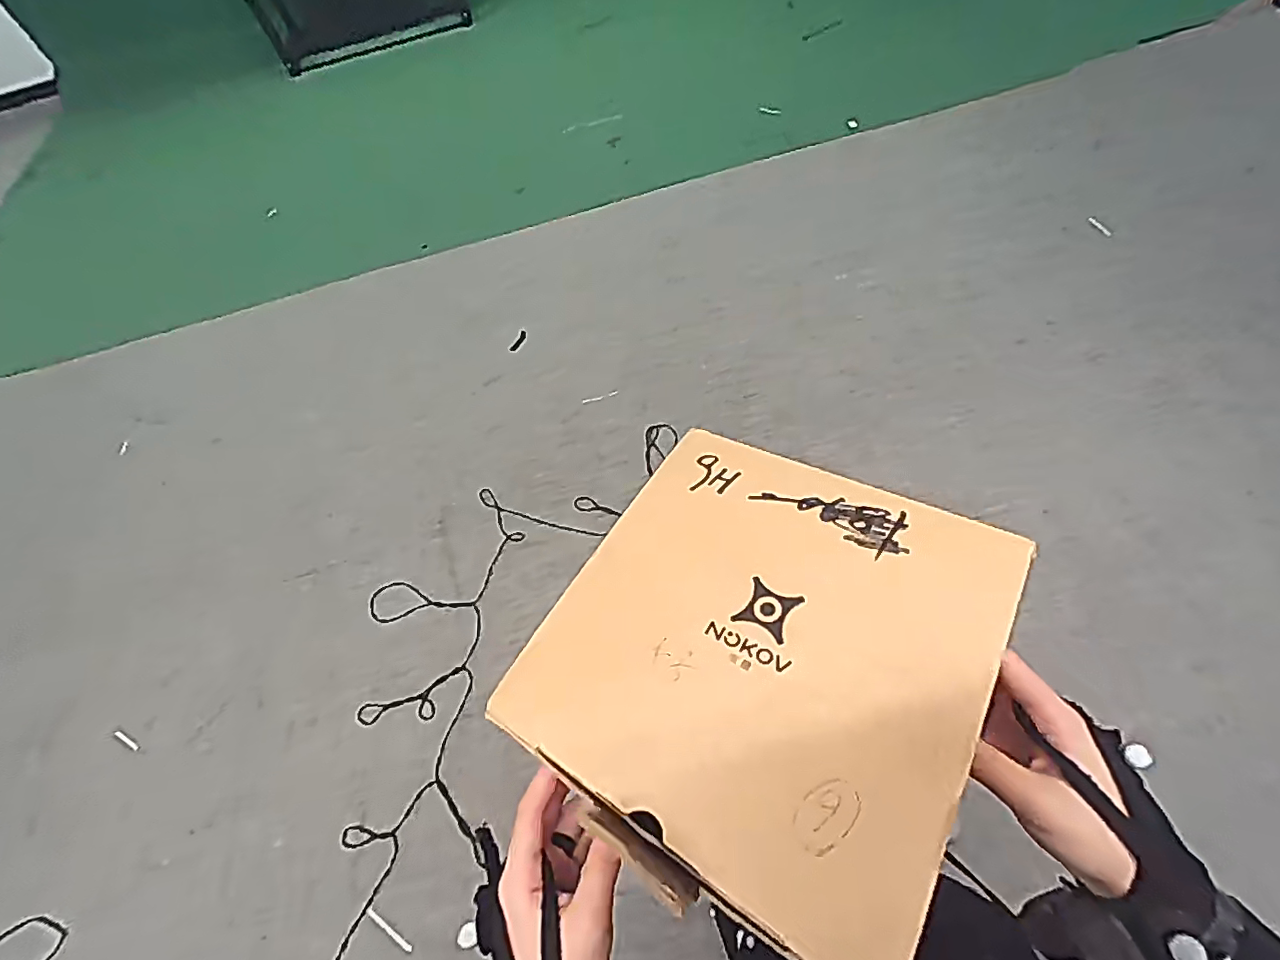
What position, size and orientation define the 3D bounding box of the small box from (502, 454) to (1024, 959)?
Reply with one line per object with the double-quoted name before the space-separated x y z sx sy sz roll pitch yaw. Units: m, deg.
"small box" 0.067 0.122 0.291 0.168 0.176 0.179 22 62 28
